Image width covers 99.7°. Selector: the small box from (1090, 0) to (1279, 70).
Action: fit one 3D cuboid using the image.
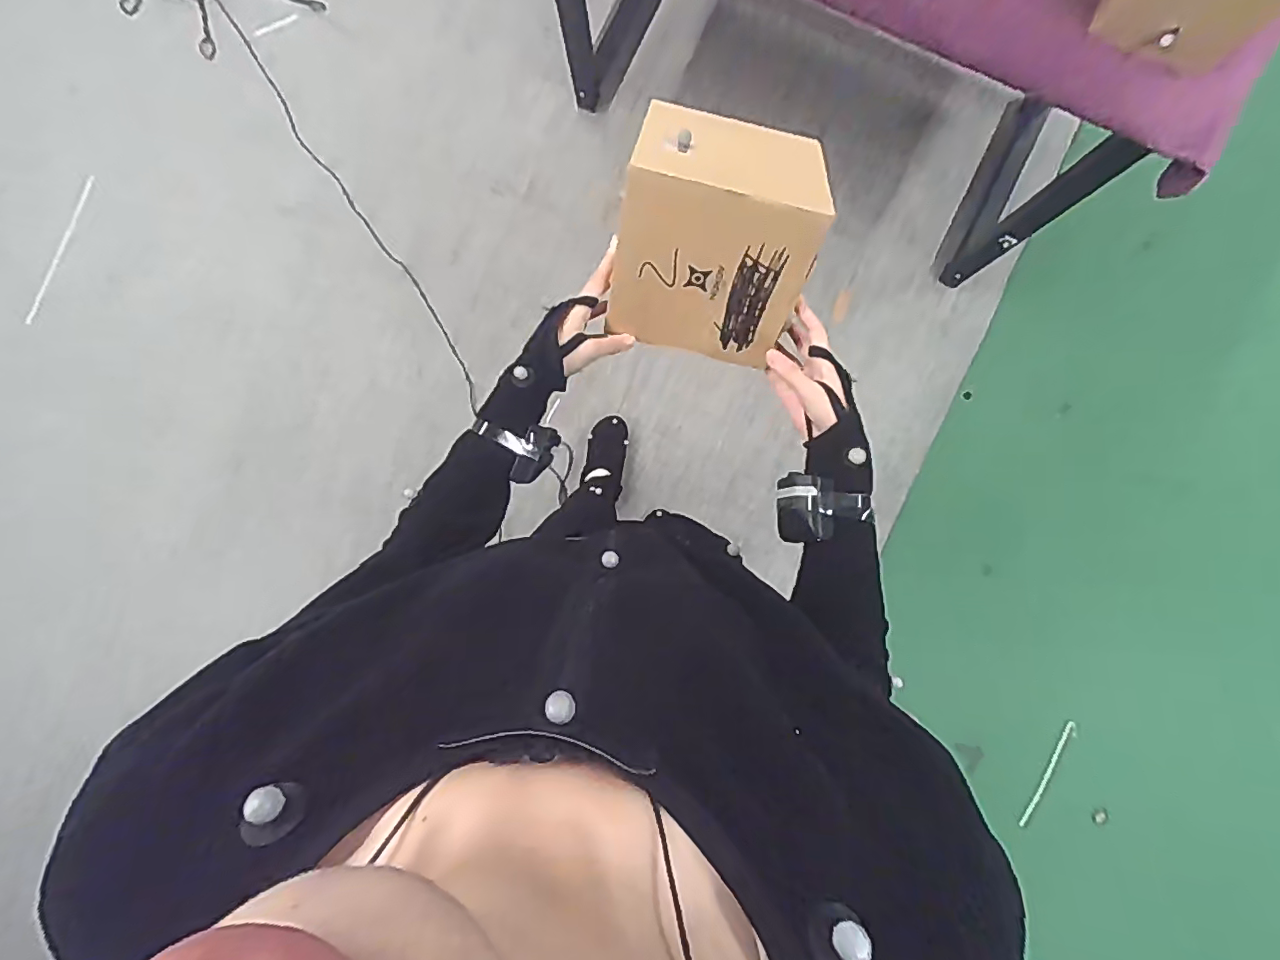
[{"bbox_3d":[0.746,-0.678,0.690,0.179,0.176,0.168,23,90,3],"label":"small box"}]
